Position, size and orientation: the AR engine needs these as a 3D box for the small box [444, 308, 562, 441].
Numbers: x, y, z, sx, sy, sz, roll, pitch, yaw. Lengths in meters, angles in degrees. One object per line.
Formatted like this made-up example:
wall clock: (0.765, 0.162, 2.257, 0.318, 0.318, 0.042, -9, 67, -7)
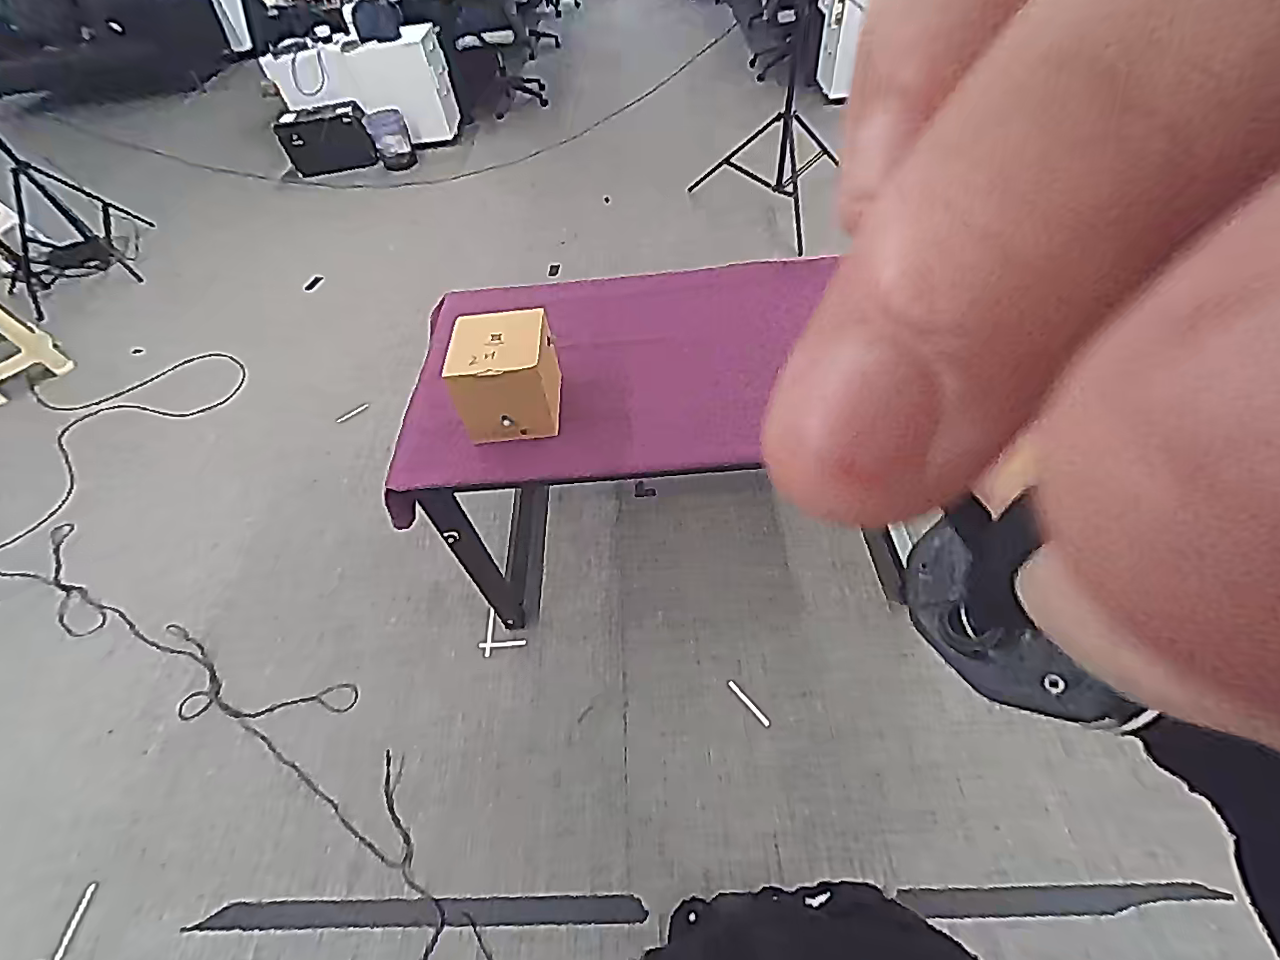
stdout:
small box: (-0.245, -0.196, 1.017, 0.168, 0.176, 0.179, -6, 51, 2)
